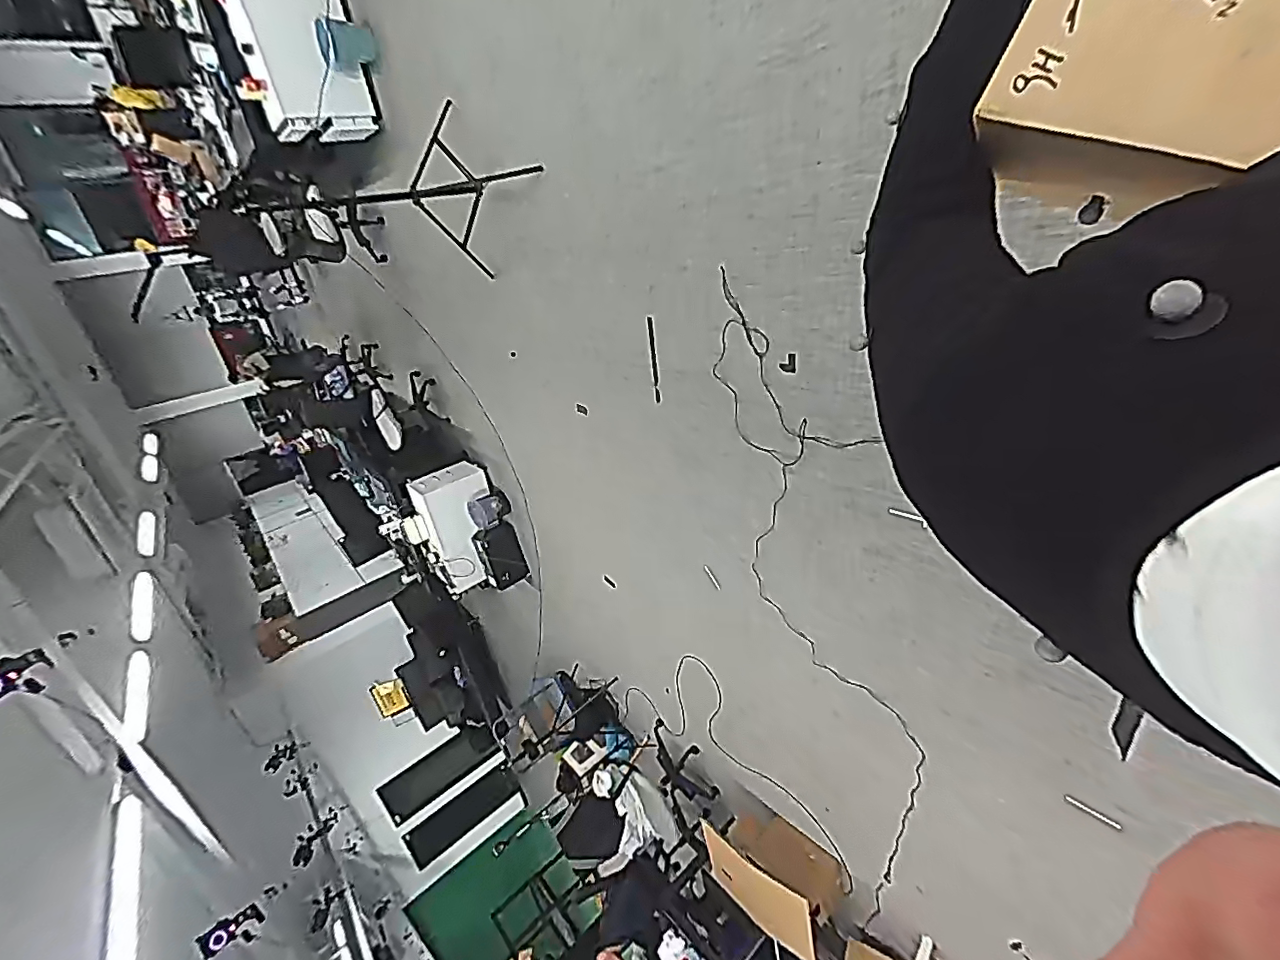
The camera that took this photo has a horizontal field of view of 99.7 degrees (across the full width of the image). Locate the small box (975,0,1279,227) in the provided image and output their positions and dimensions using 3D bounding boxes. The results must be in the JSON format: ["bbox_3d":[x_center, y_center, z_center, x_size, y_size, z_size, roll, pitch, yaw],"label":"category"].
[{"bbox_3d":[0.363,-0.286,0.360,0.179,0.176,0.168,34,117,26],"label":"small box"}]
